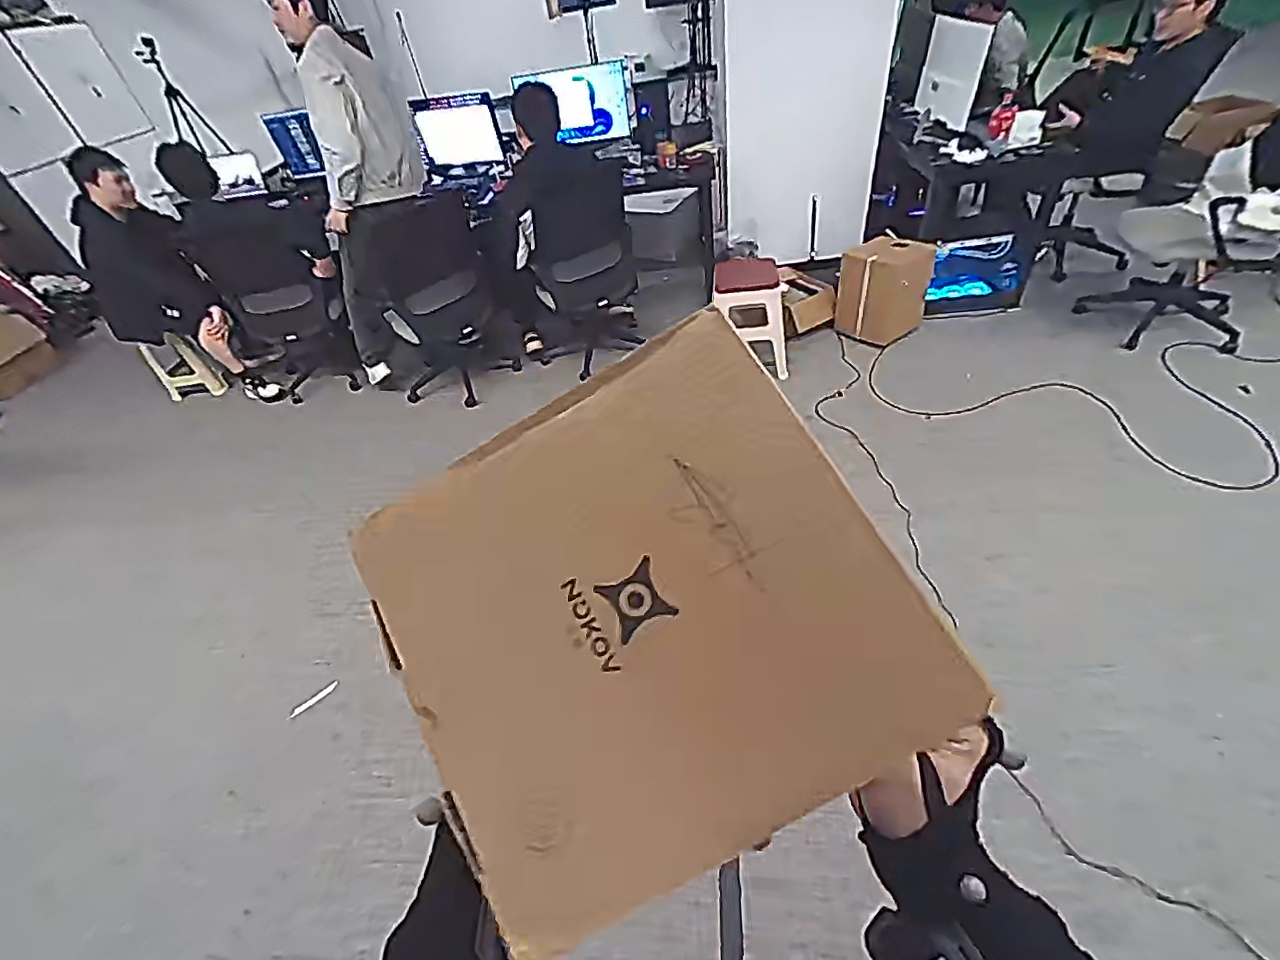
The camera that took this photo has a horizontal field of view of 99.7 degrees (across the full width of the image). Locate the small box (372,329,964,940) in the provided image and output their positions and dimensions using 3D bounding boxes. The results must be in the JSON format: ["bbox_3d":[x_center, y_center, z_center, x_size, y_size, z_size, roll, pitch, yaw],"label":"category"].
[{"bbox_3d":[0.012,0.066,0.280,0.179,0.176,0.168,-33,73,1],"label":"small box"}]
